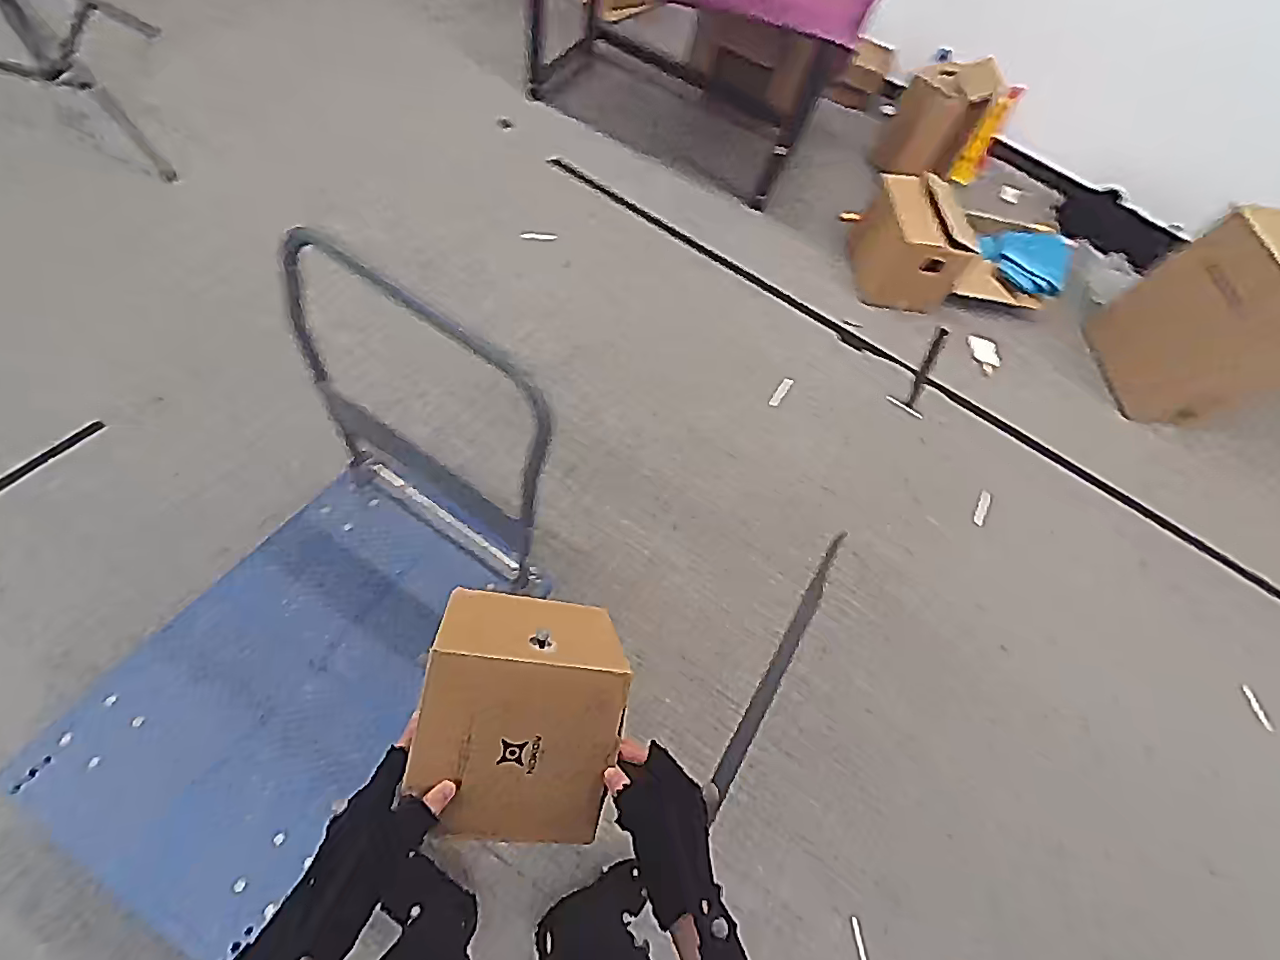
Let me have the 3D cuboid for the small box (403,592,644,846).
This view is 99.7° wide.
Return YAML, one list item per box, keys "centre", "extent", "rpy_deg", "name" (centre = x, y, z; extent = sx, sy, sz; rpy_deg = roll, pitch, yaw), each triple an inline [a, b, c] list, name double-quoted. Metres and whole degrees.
- centre: [-0.113, 0.225, 0.543]
  extent: [0.179, 0.176, 0.168]
  rpy_deg: [13, 94, -13]
  name: "small box"
